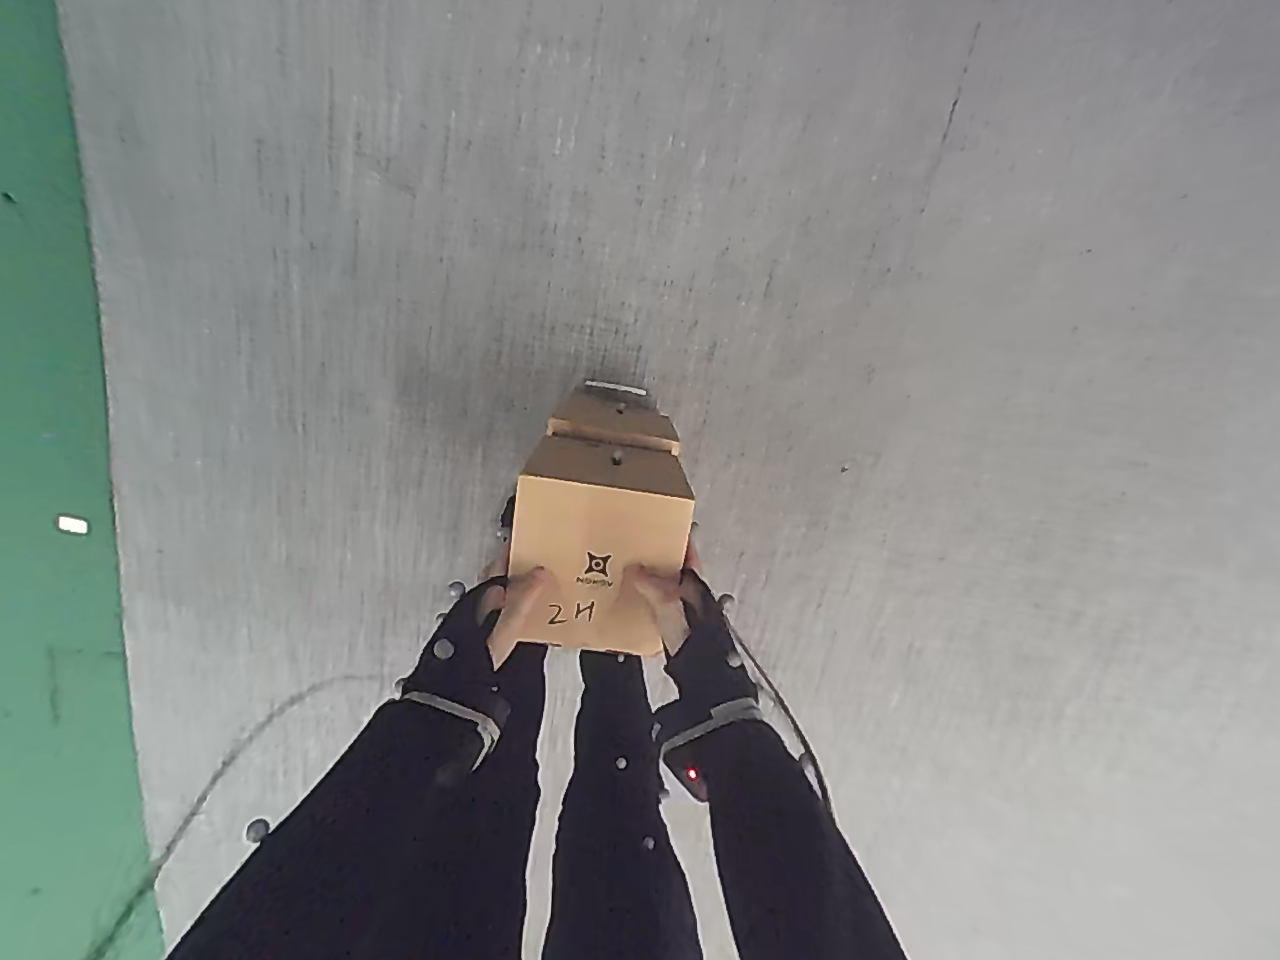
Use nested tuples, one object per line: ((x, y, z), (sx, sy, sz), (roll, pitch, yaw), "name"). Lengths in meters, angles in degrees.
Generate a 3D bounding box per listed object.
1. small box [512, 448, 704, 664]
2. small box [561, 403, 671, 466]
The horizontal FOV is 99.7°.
((-0.037, 0.072, 0.603), (0.168, 0.176, 0.179), (9, 106, -4), "small box")
((-0.057, -0.024, 0.929), (0.168, 0.176, 0.179), (15, 106, -7), "small box")
